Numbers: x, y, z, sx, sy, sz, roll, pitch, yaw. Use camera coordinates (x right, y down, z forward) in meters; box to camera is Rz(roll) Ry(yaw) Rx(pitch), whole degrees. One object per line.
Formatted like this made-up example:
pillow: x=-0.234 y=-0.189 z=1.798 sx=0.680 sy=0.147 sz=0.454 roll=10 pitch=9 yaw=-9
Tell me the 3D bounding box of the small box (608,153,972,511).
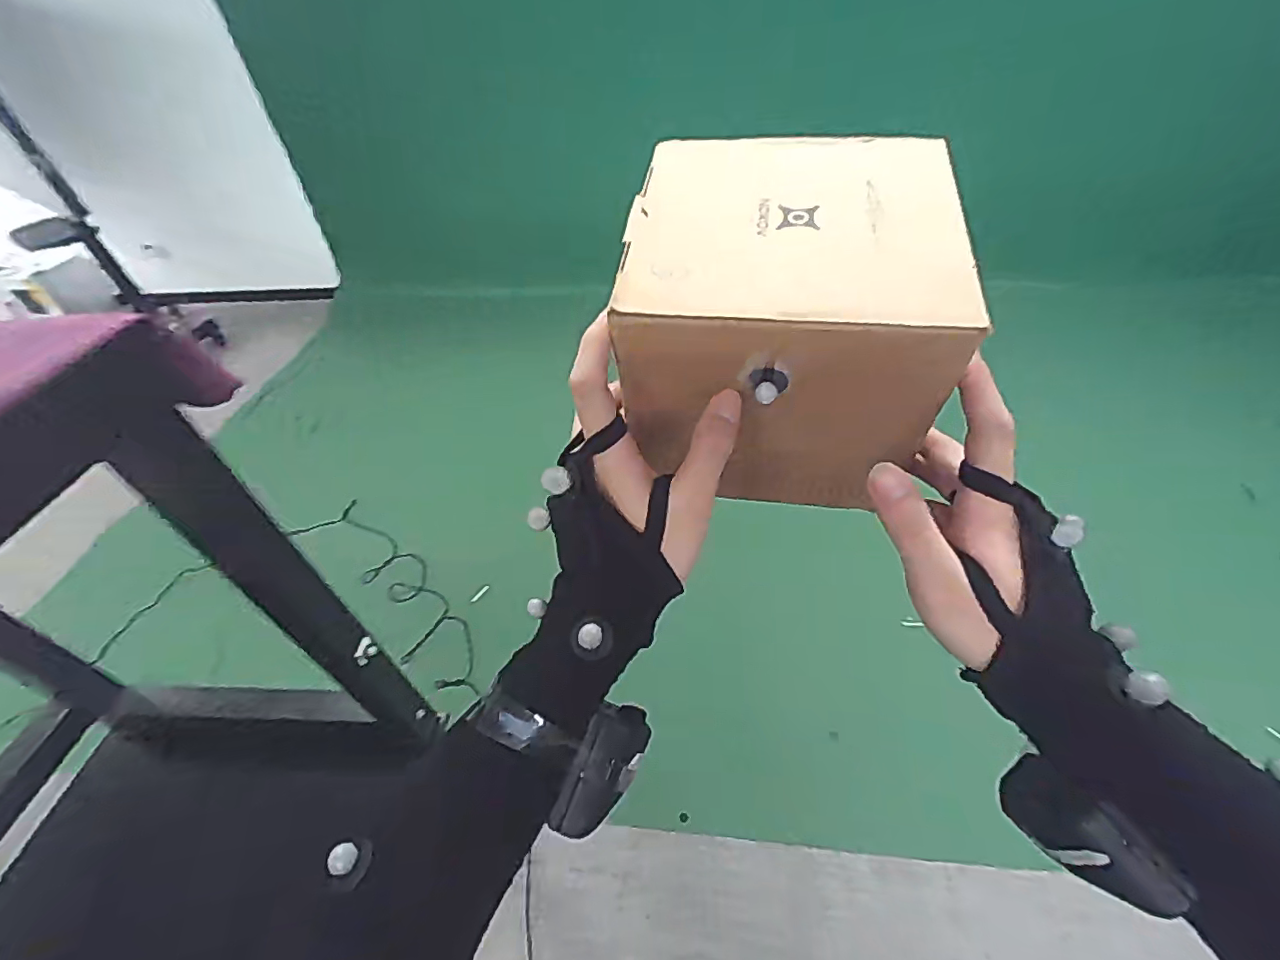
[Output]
small box: x=0.091 y=-0.094 z=0.369 sx=0.179 sy=0.176 sz=0.168 roll=7 pitch=58 yaw=11
